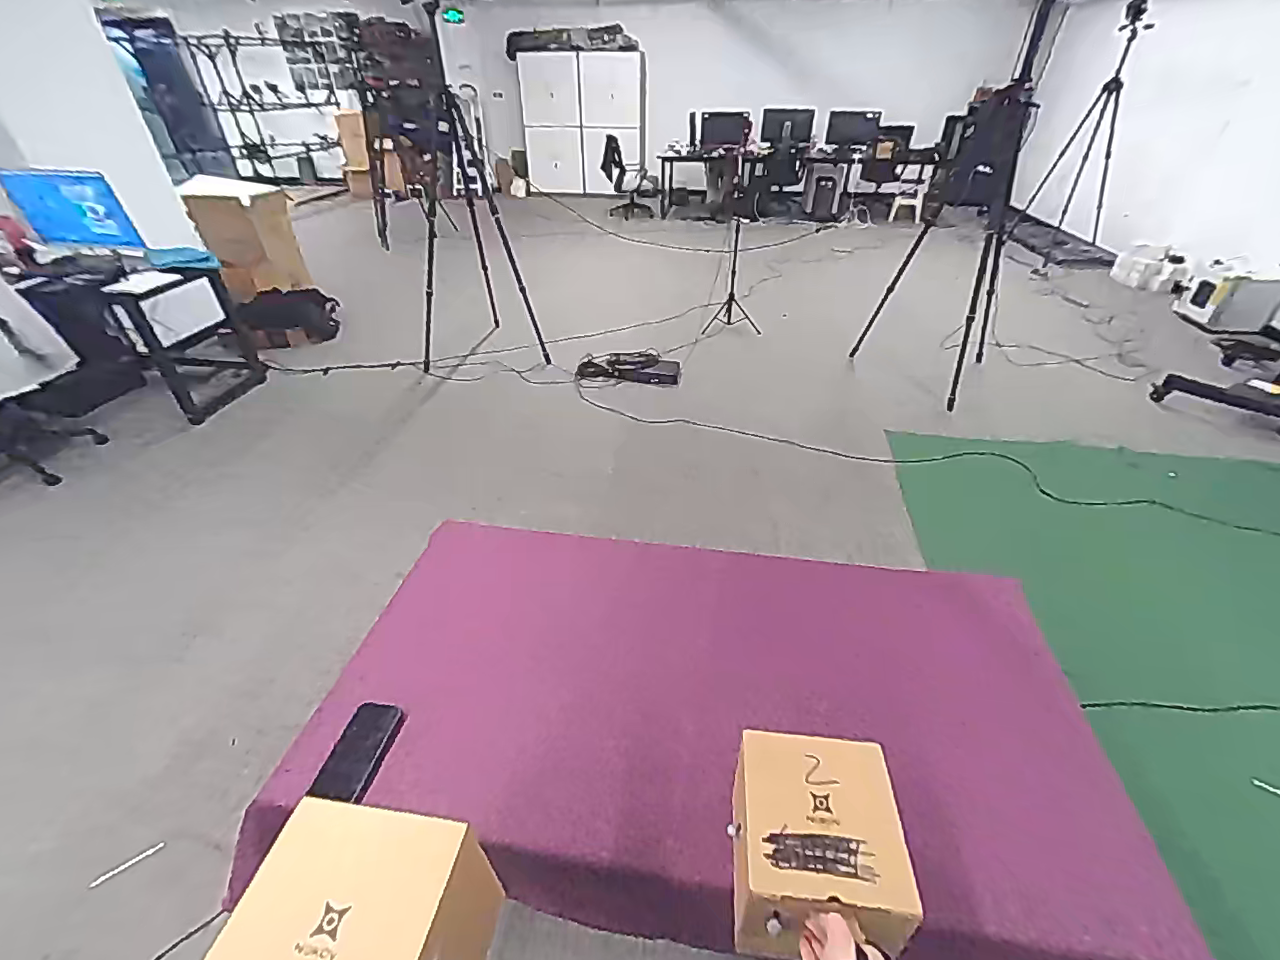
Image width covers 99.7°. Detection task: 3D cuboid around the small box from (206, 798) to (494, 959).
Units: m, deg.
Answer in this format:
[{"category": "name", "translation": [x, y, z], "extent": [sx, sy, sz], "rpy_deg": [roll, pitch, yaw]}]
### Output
[{"category": "small box", "translation": [-0.239, 0.415, 0.467], "extent": [0.168, 0.176, 0.179], "rpy_deg": [4, 38, 8]}]
